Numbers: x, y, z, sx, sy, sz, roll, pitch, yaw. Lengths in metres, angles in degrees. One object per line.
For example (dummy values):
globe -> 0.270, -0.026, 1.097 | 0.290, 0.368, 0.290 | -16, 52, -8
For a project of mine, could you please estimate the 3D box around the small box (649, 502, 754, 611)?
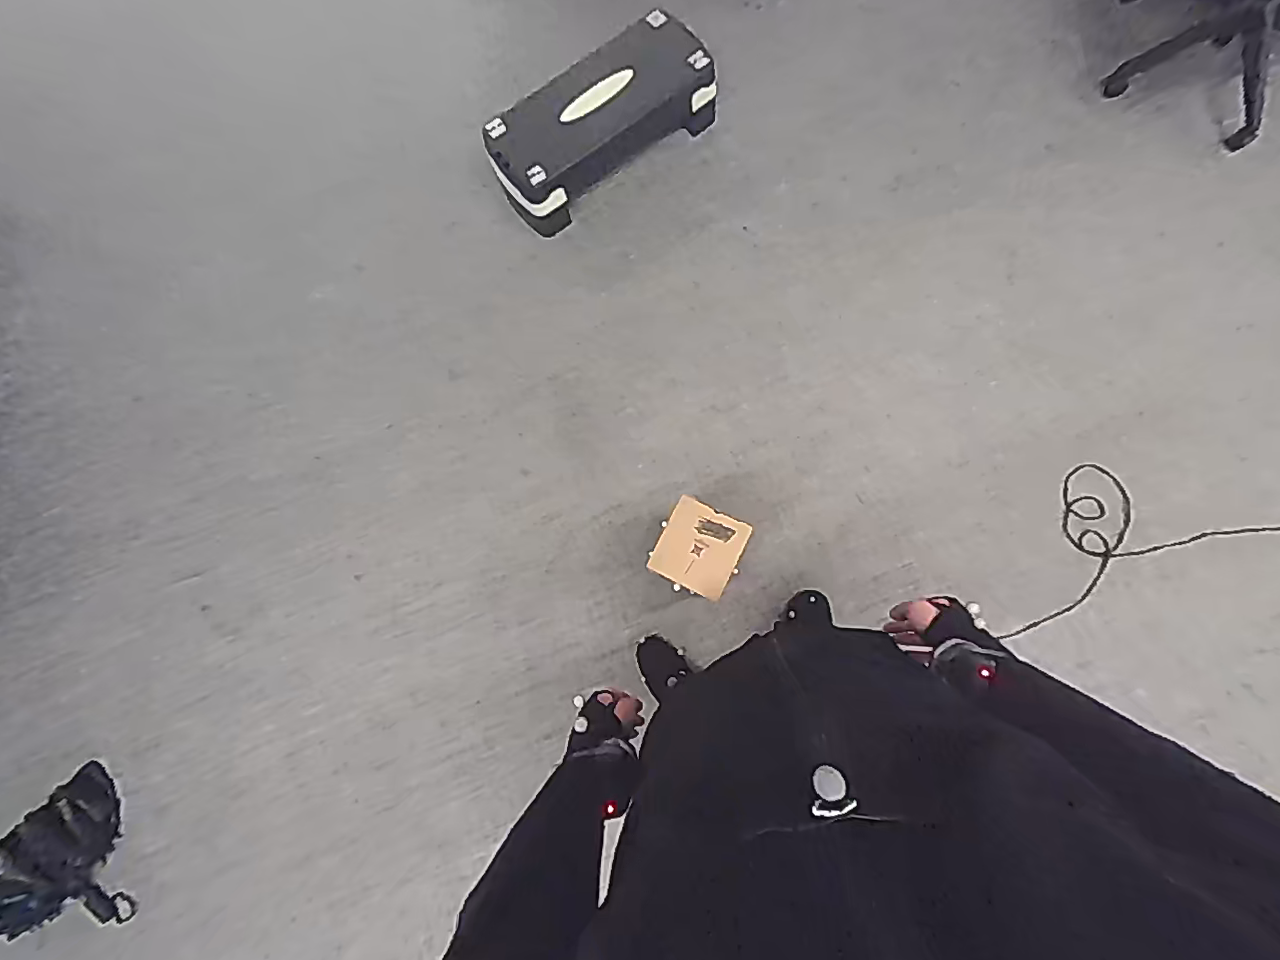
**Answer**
small box -> 0.132, 0.172, 1.201 | 0.168, 0.176, 0.179 | 26, 83, 10

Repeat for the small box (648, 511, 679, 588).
small box -> 0.130, 0.197, 1.364 | 0.168, 0.176, 0.179 | 18, 80, 8
